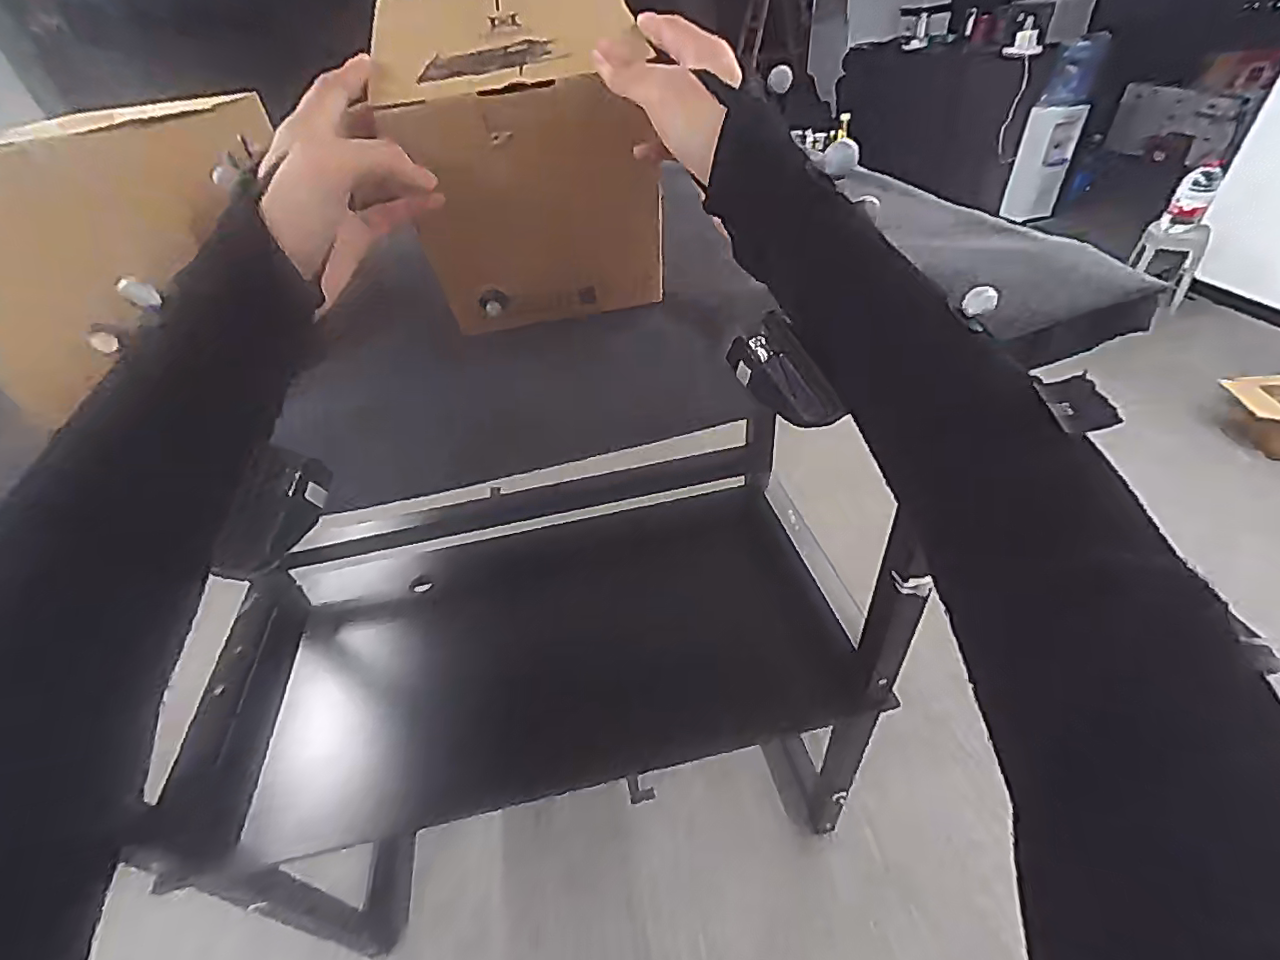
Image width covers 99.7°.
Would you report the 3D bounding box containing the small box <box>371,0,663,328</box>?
[{"bbox_3d":[-0.080,-0.235,0.408,0.168,0.176,0.179,-12,57,-5],"label":"small box"}]
